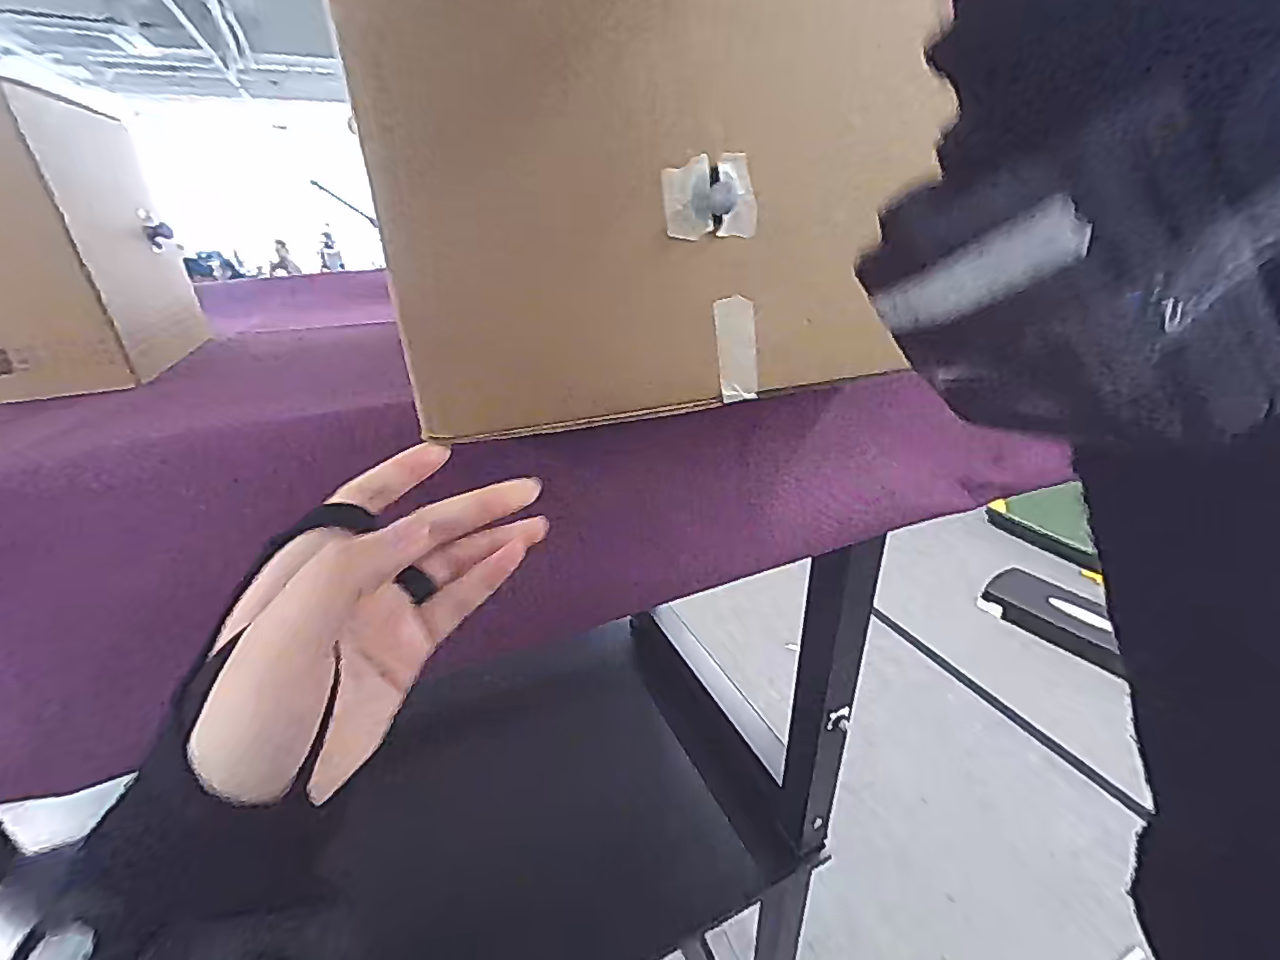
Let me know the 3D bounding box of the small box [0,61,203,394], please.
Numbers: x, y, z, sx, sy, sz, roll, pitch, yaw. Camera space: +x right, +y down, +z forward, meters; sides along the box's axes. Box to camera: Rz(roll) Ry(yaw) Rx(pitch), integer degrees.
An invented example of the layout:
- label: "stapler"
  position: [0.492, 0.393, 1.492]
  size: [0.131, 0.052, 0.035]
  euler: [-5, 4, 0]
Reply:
- label: "small box"
  position: [-0.425, -0.155, 0.351]
  size: [0.168, 0.176, 0.179]
  euler: [-13, 29, -19]
